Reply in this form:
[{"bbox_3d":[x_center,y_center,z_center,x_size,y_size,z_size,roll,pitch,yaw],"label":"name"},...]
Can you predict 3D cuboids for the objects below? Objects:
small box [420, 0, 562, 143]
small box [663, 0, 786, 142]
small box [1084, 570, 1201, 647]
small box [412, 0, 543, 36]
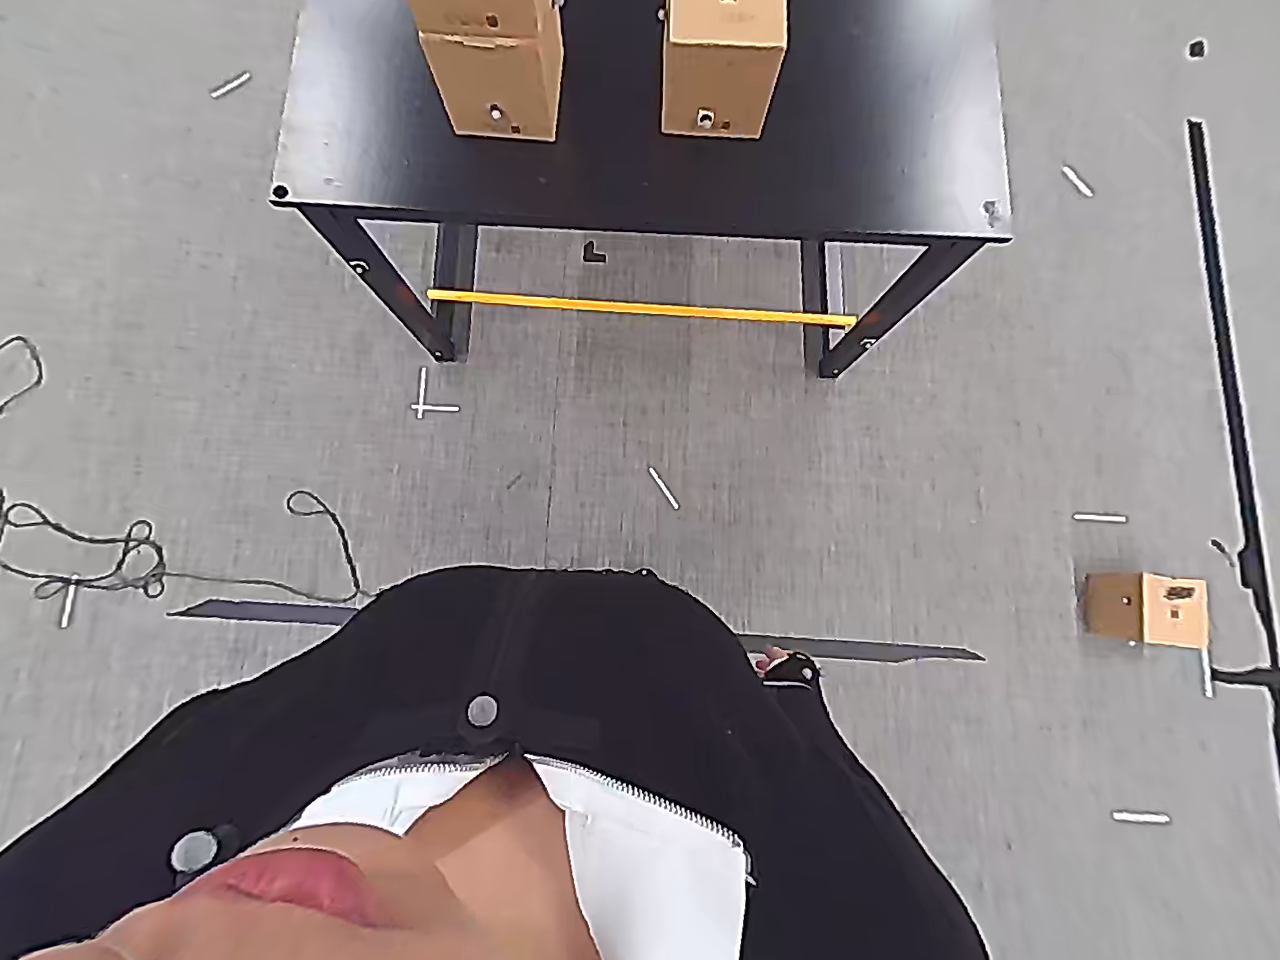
[{"bbox_3d":[-0.215,-0.662,0.827,0.168,0.176,0.179,4,81,-1],"label":"small box"},{"bbox_3d":[0.122,-0.670,0.841,0.168,0.176,0.179,1,82,0],"label":"small box"},{"bbox_3d":[1.342,0.339,1.456,0.168,0.176,0.179,7,82,0],"label":"small box"},{"bbox_3d":[-0.212,-0.697,0.666,0.168,0.176,0.179,1,81,-2],"label":"small box"}]
